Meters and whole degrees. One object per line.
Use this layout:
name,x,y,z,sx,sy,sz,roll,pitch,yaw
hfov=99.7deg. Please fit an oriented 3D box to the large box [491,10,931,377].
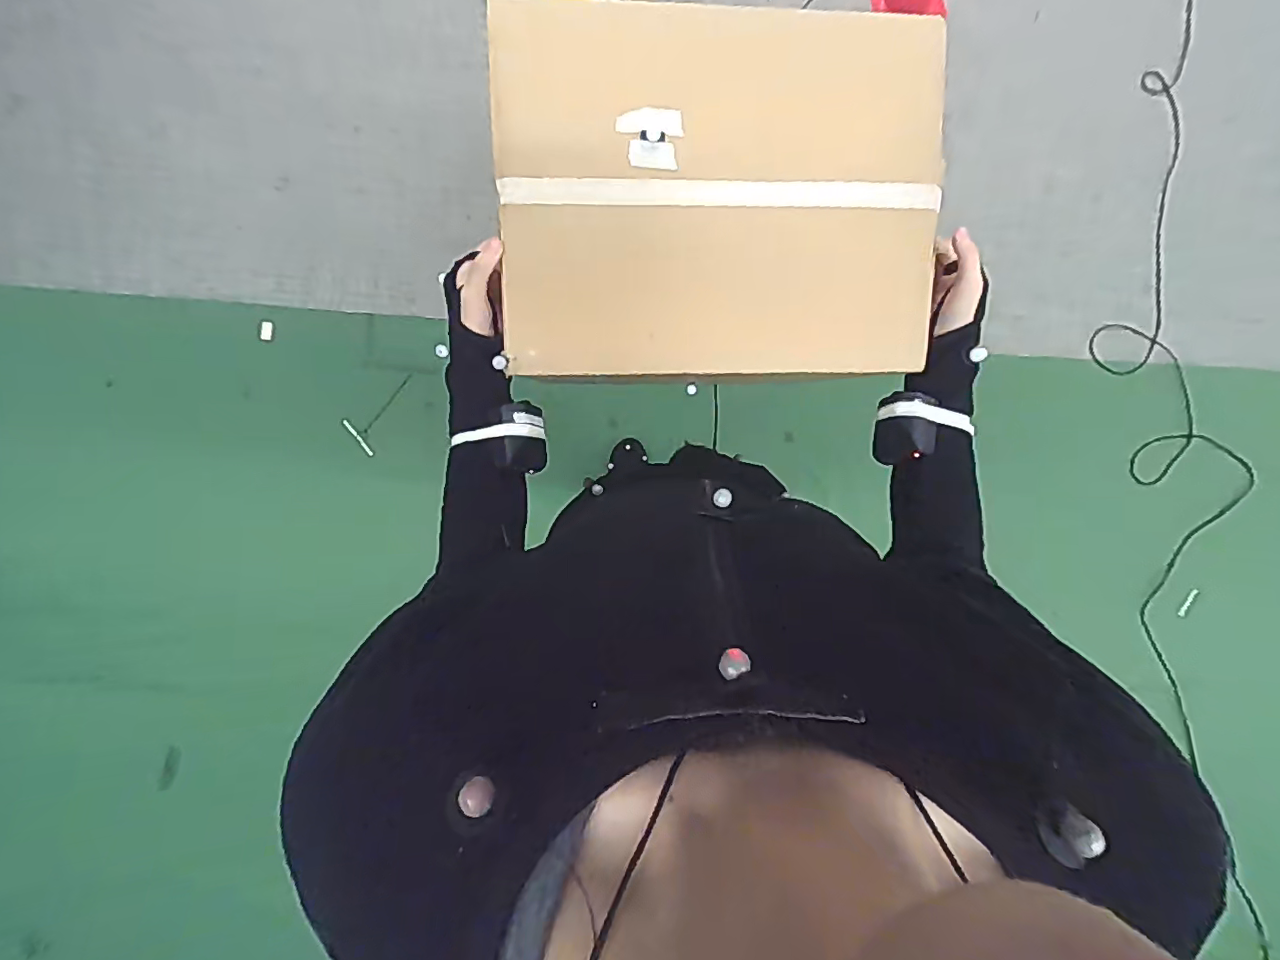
large box,0.062,-0.285,0.648,0.408,0.320,0.320,-1,98,-4
